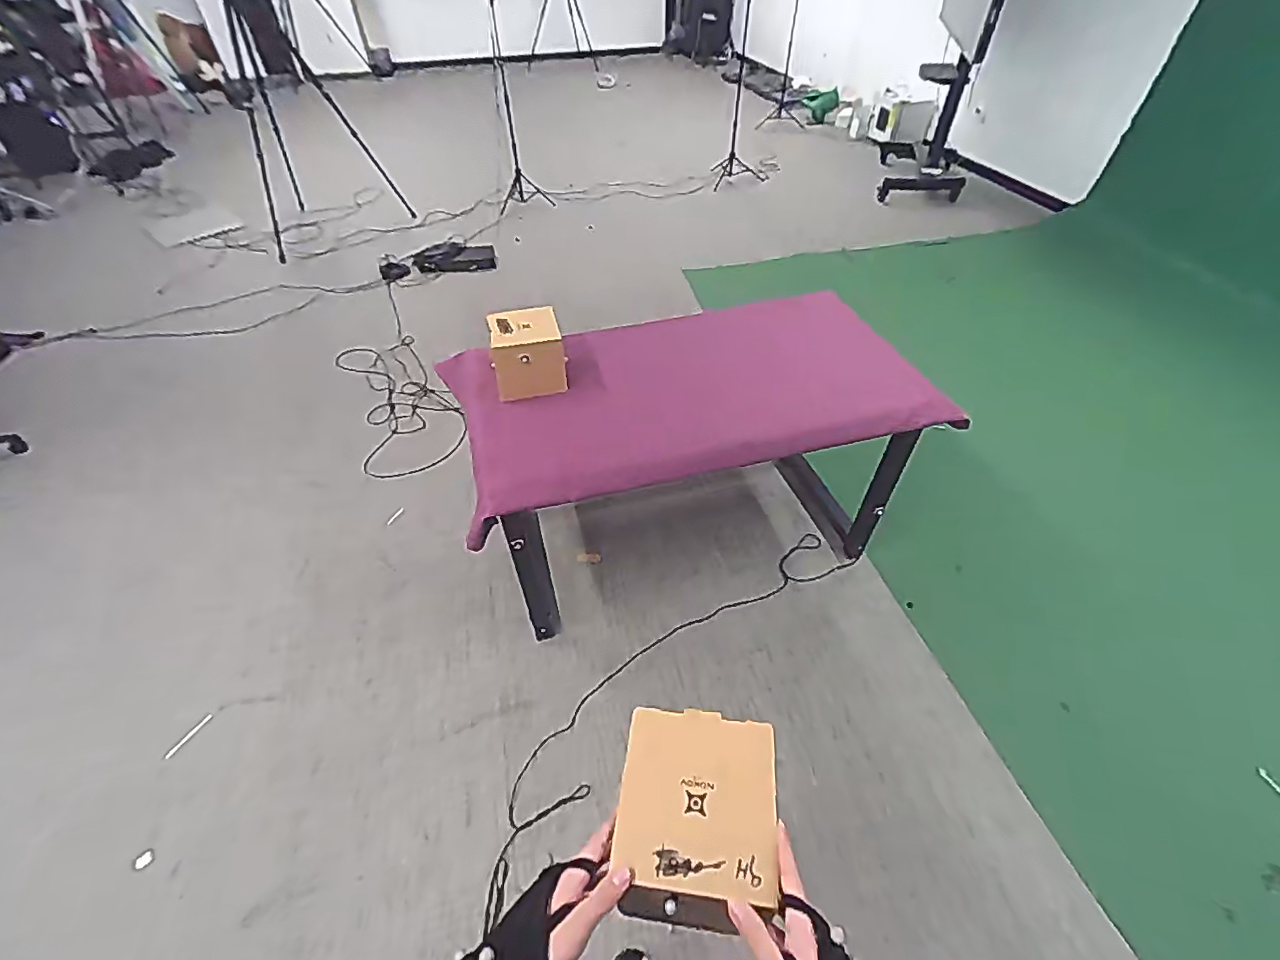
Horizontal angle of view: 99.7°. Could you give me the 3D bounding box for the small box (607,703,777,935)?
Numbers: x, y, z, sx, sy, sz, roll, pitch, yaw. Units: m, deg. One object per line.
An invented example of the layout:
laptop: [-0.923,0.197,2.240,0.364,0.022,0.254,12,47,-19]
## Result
small box: [0.063,0.389,0.624,0.168,0.176,0.179,4,44,8]

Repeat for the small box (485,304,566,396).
small box: [-0.300,-0.340,1.427,0.179,0.176,0.168,-11,49,-11]
